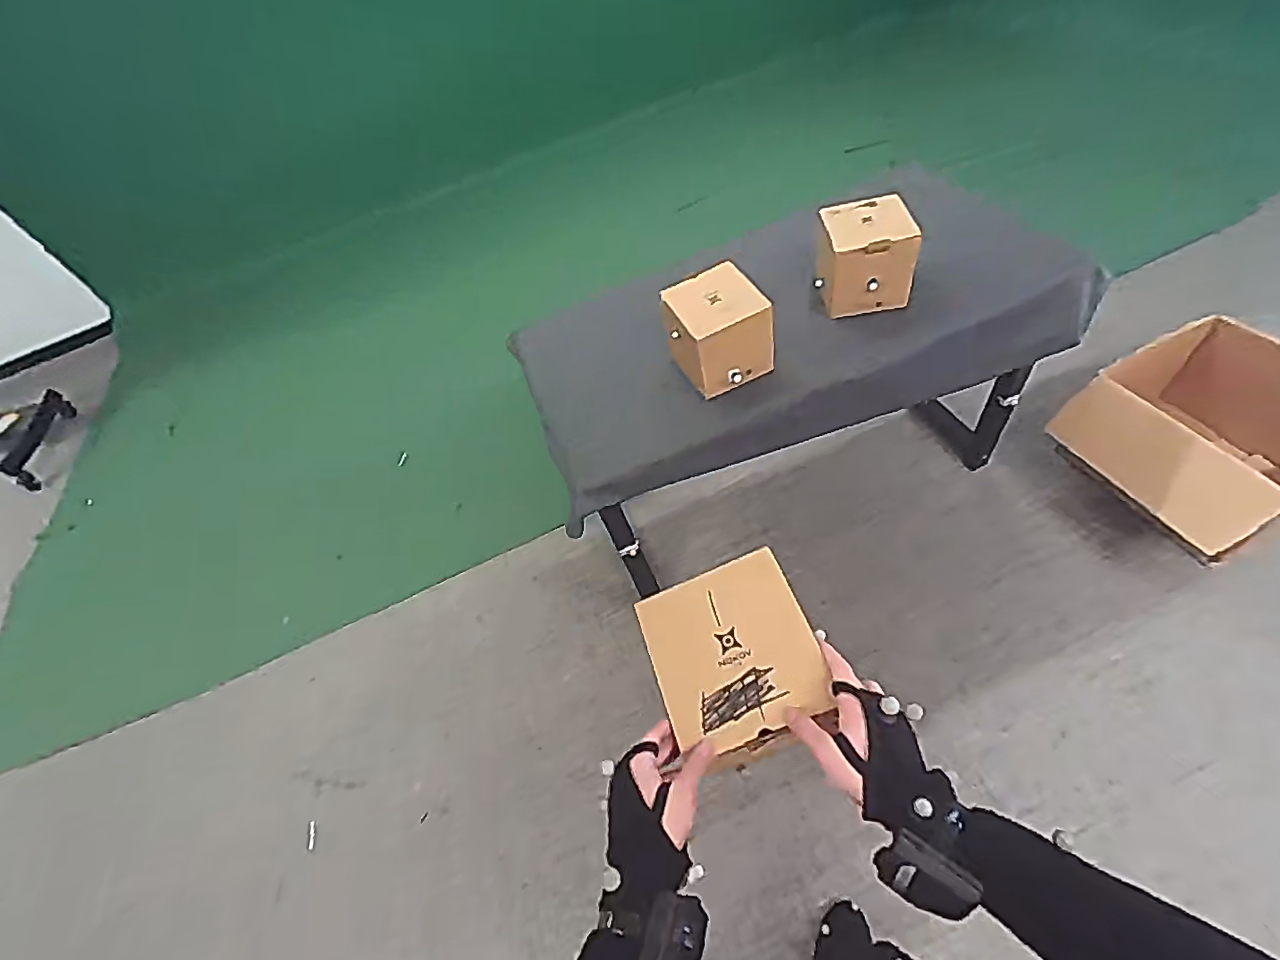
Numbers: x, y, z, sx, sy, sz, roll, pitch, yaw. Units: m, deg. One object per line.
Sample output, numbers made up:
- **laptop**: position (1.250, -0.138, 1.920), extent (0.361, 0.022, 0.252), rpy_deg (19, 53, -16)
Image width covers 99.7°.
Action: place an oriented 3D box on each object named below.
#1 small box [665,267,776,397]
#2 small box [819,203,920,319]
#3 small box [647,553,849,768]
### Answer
- **small box**: position (0.170, -0.308, 1.137), extent (0.168, 0.176, 0.179), rpy_deg (-26, 52, -5)
- **small box**: position (0.497, -0.474, 1.197), extent (0.168, 0.176, 0.179), rpy_deg (-7, 53, 10)
- **small box**: position (0.129, 0.219, 0.629), extent (0.168, 0.176, 0.179), rpy_deg (-24, 53, 6)
